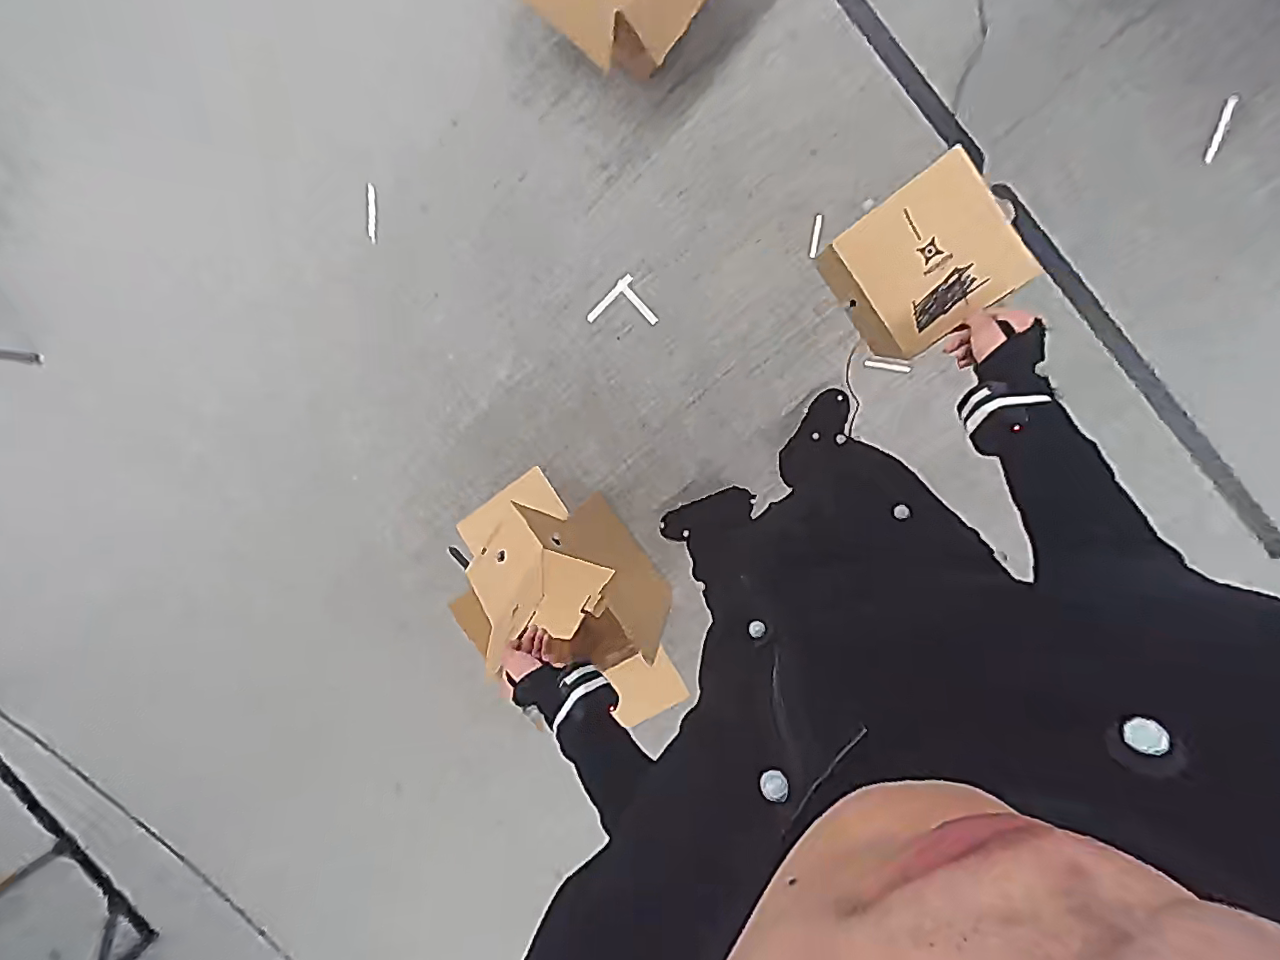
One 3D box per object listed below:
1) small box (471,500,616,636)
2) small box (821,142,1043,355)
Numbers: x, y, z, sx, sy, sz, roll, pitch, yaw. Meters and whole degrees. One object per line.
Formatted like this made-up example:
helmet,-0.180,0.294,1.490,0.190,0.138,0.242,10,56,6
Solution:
small box,-0.184,0.157,0.998,0.168,0.179,0.176,-55,43,8
small box,0.360,-0.283,0.702,0.168,0.176,0.179,-34,96,16
